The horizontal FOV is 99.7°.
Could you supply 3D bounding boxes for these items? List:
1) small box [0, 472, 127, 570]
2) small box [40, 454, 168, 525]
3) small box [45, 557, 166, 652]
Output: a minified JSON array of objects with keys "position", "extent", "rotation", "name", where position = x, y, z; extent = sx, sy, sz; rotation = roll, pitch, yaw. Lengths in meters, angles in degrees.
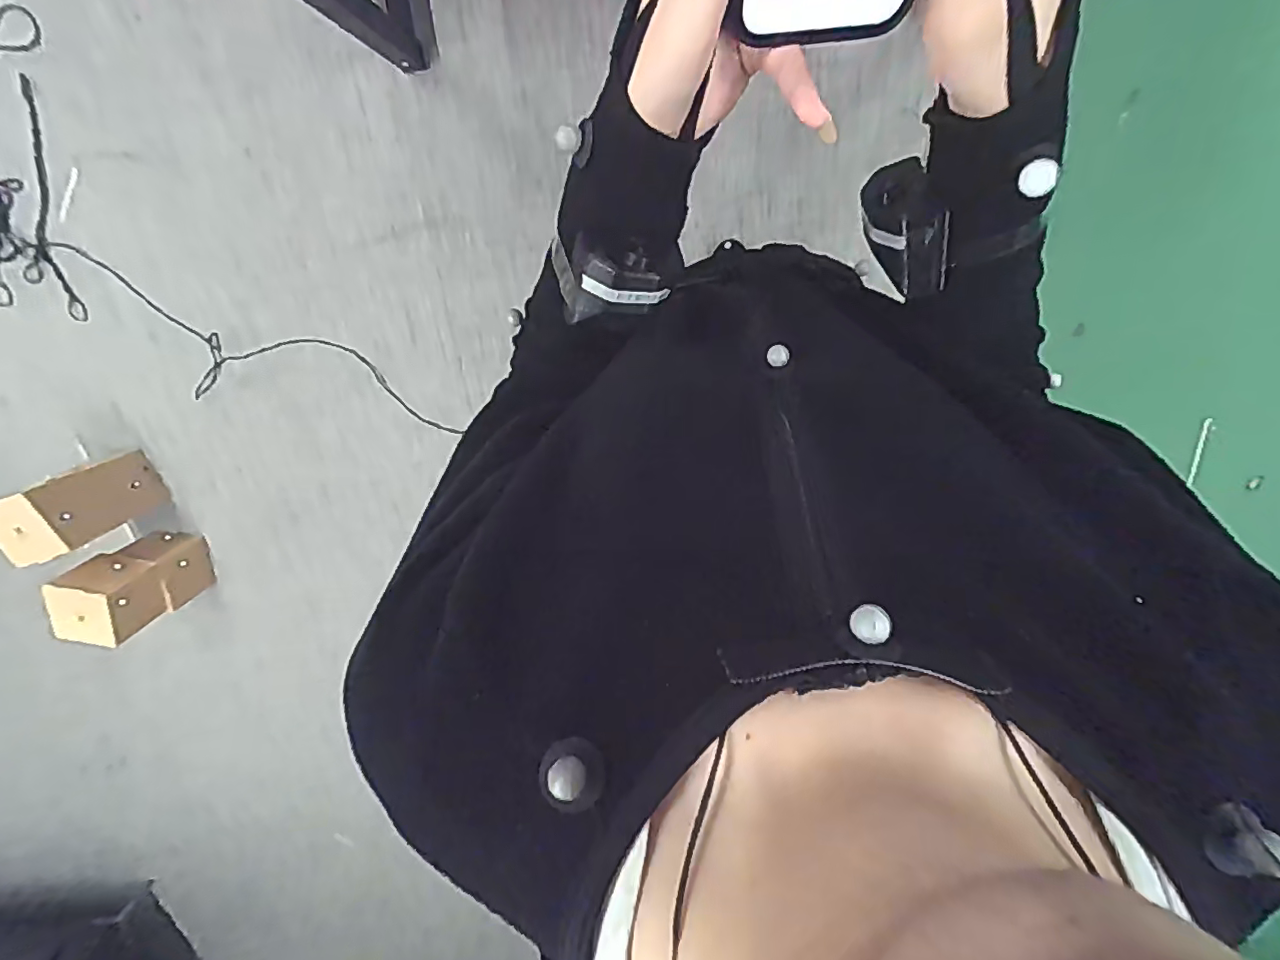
[{"position":[-1.516,0.103,1.407],"extent":[0.168,0.176,0.179],"rotation":[-16,111,8],"name":"small box"},{"position":[-1.523,0.036,1.557],"extent":[0.179,0.176,0.168],"rotation":[-11,111,7],"name":"small box"},{"position":[-1.473,0.342,1.506],"extent":[0.168,0.176,0.179],"rotation":[11,111,-1],"name":"small box"}]
